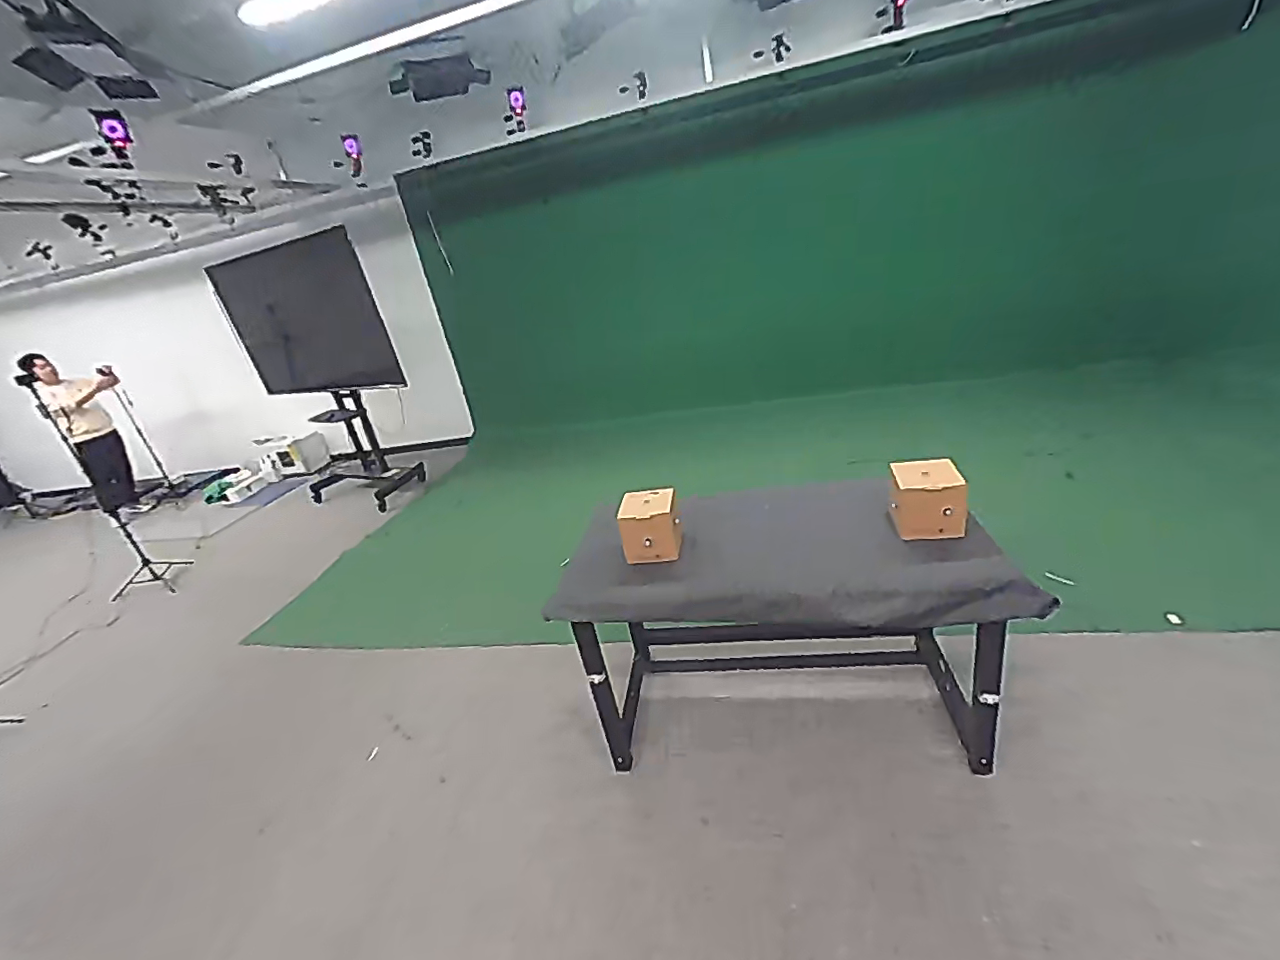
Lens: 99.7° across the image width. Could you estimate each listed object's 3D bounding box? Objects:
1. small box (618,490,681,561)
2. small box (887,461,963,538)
[{"bbox_3d":[0.036,0.150,1.733,0.168,0.176,0.179,-6,24,11],"label":"small box"},{"bbox_3d":[0.822,0.060,1.569,0.168,0.176,0.179,-4,23,15],"label":"small box"}]
